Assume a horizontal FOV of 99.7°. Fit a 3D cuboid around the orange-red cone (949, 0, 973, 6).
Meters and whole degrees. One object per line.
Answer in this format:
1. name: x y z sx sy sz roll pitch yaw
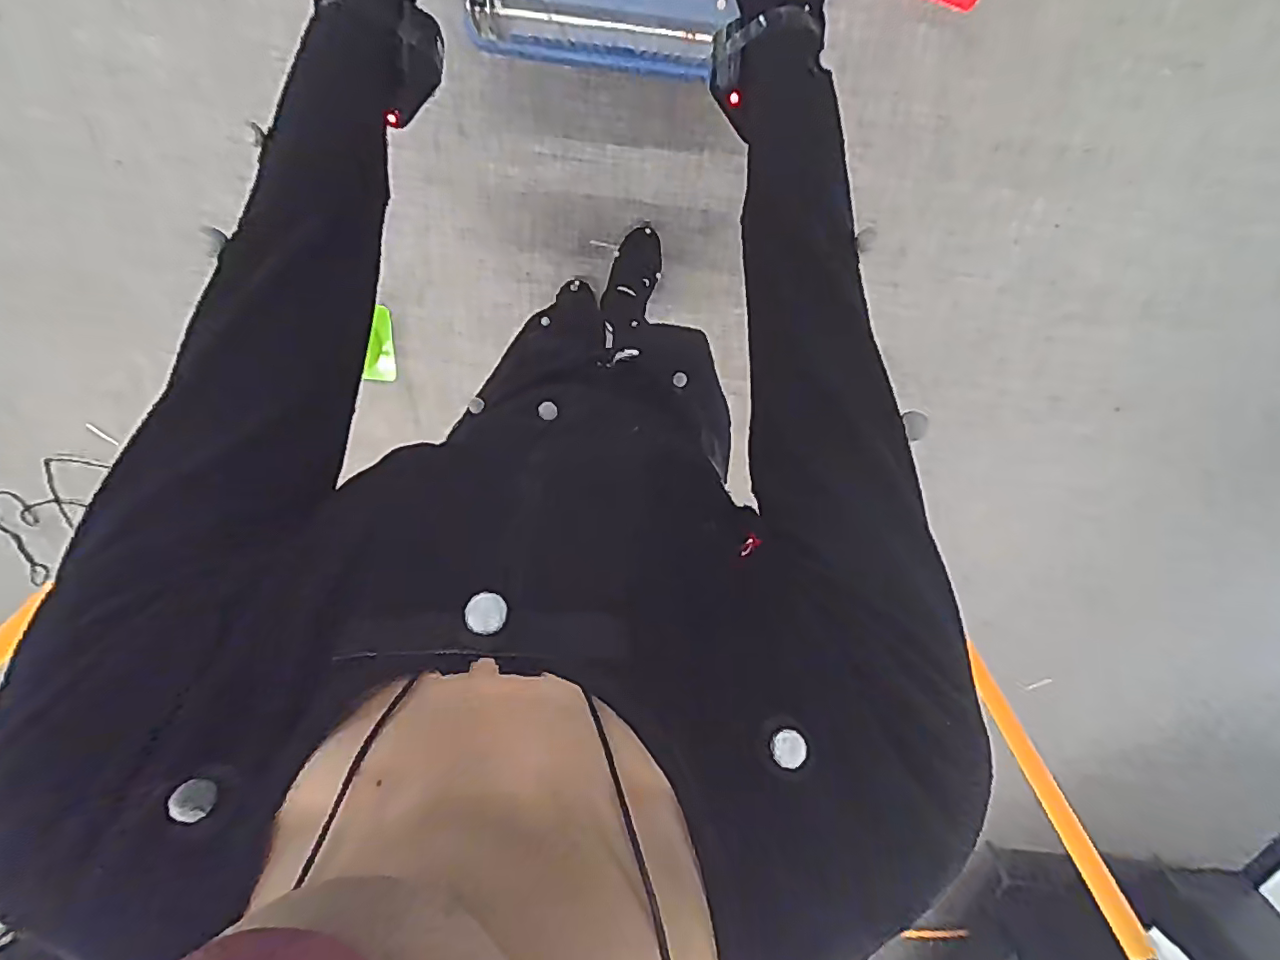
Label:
1. orange-red cone: 0.614 -0.990 0.897 0.198 0.360 0.199 17 117 -8
